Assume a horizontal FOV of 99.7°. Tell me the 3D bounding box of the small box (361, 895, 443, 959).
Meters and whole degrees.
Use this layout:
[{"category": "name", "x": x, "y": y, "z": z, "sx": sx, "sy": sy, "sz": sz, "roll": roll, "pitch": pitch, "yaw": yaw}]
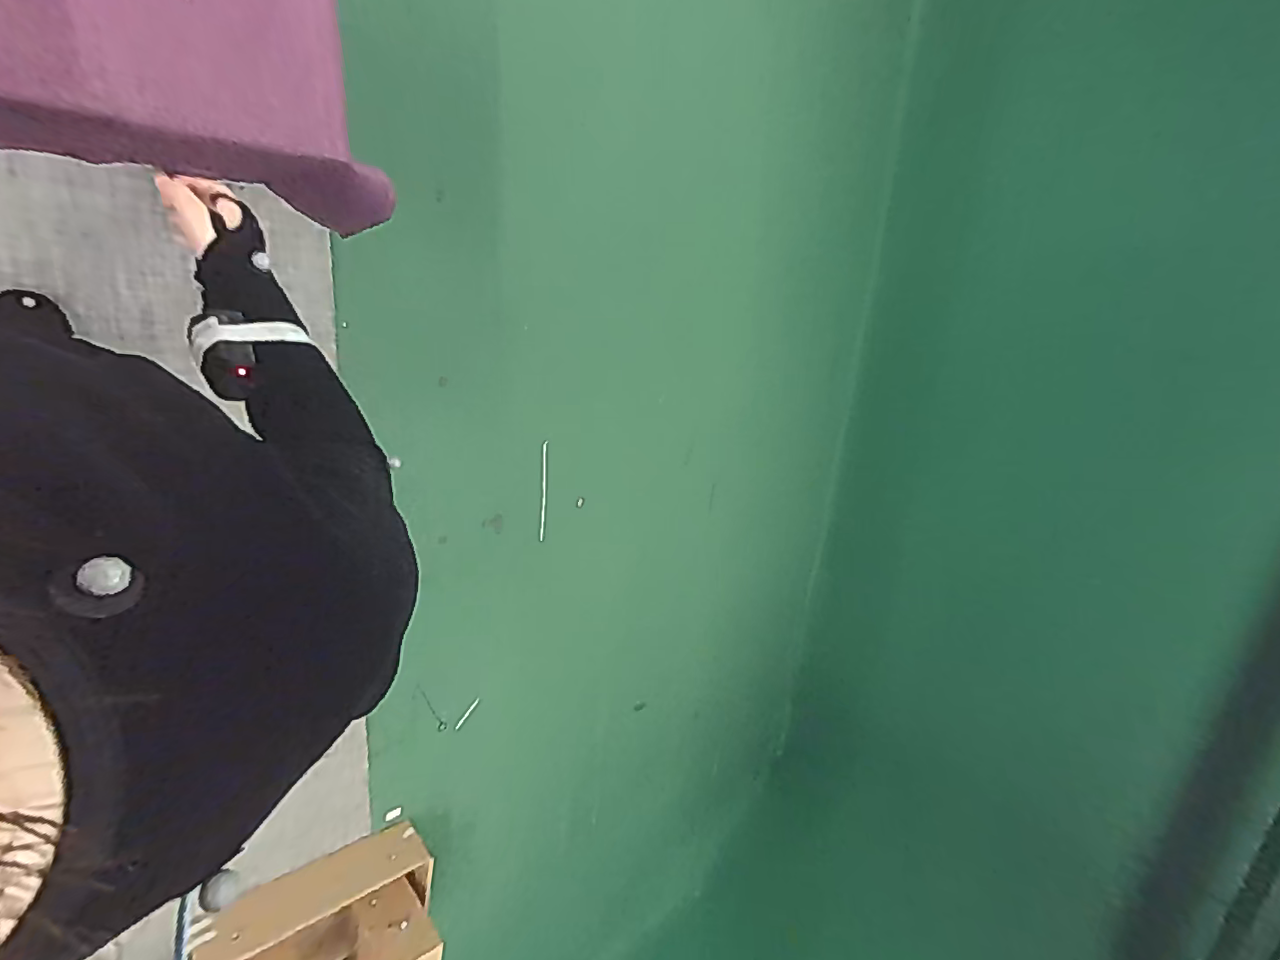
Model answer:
[{"category": "small box", "x": -0.727, "y": 1.428, "z": 1.641, "sx": 0.168, "sy": 0.176, "sz": 0.179, "roll": 4, "pitch": 100, "yaw": -47}]
